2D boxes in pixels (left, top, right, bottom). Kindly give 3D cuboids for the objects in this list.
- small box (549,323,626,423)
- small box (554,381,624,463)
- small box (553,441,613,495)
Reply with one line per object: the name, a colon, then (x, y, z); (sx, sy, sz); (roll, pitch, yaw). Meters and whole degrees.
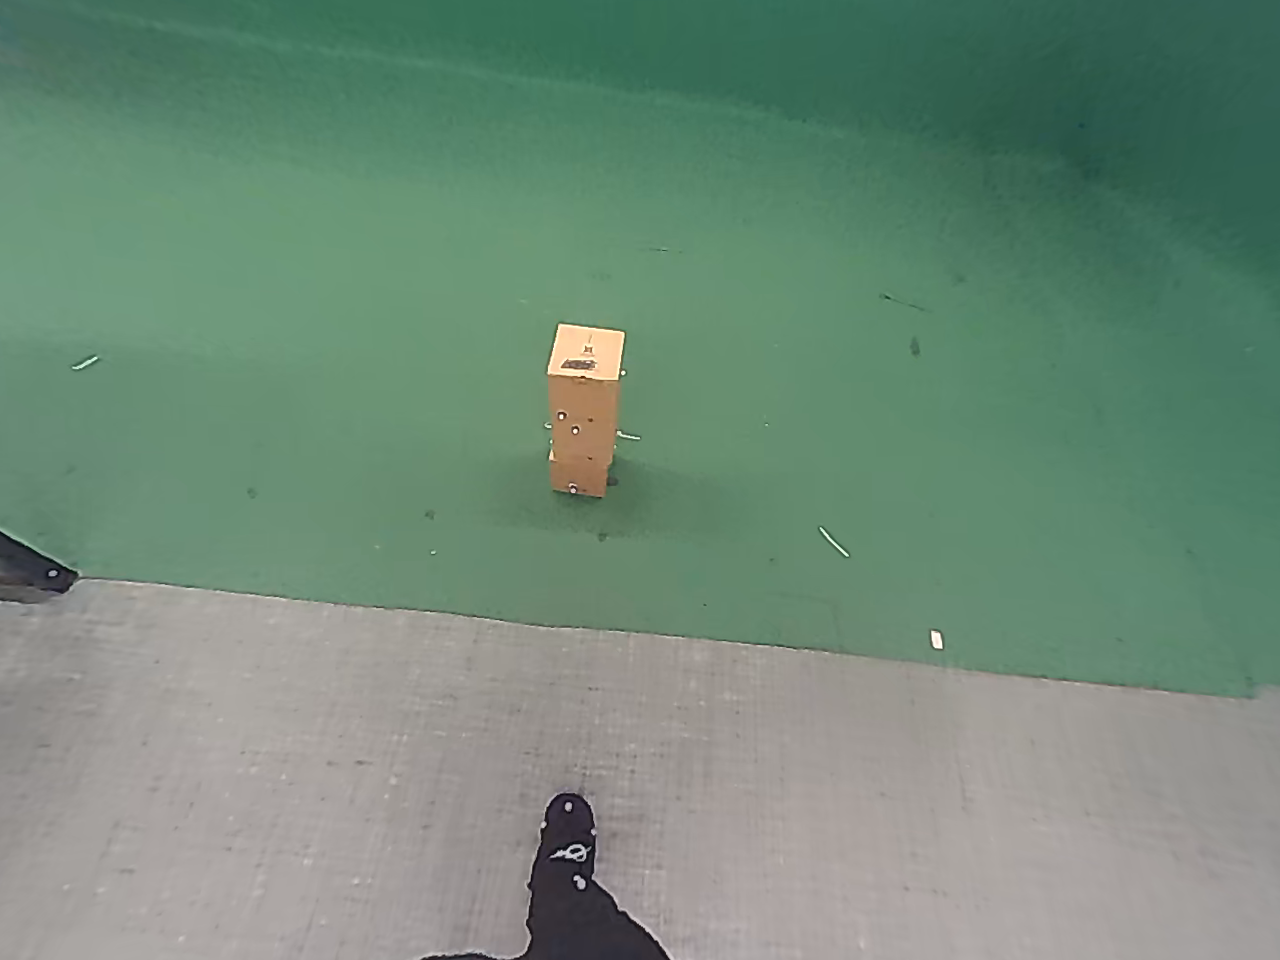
small box: (-0.128, -0.263, 1.356); (0.168, 0.176, 0.179); (7, 55, -2)
small box: (-0.140, -0.172, 1.493); (0.168, 0.176, 0.179); (7, 55, -1)
small box: (-0.164, -0.079, 1.625); (0.168, 0.176, 0.179); (7, 57, -1)
